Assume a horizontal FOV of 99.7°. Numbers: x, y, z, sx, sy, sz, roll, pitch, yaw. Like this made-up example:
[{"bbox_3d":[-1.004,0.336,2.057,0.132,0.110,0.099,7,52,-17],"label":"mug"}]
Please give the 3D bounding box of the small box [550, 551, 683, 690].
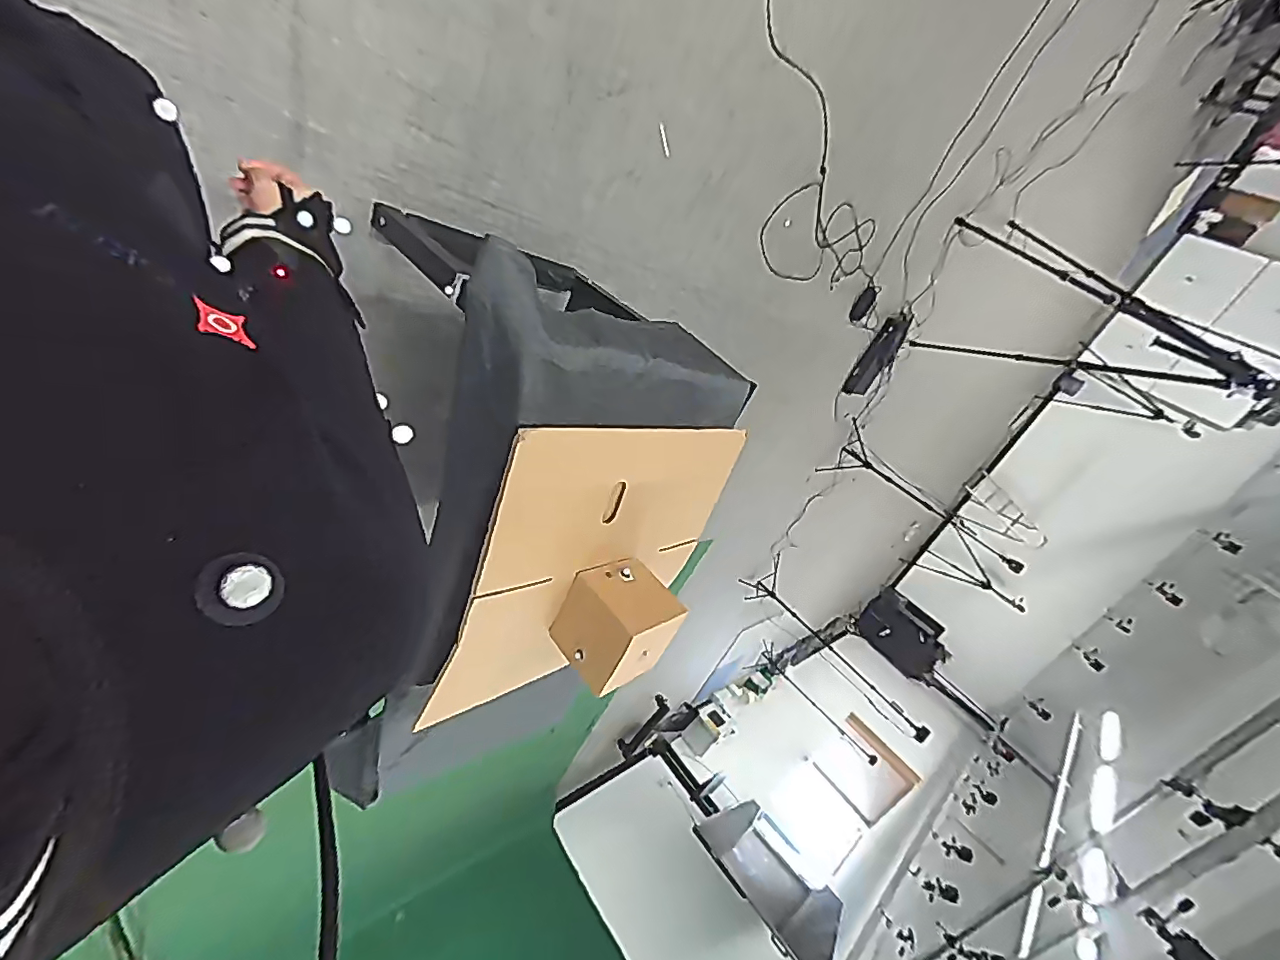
[{"bbox_3d":[-0.053,0.269,1.069,0.168,0.176,0.179,-9,133,-49],"label":"small box"}]
